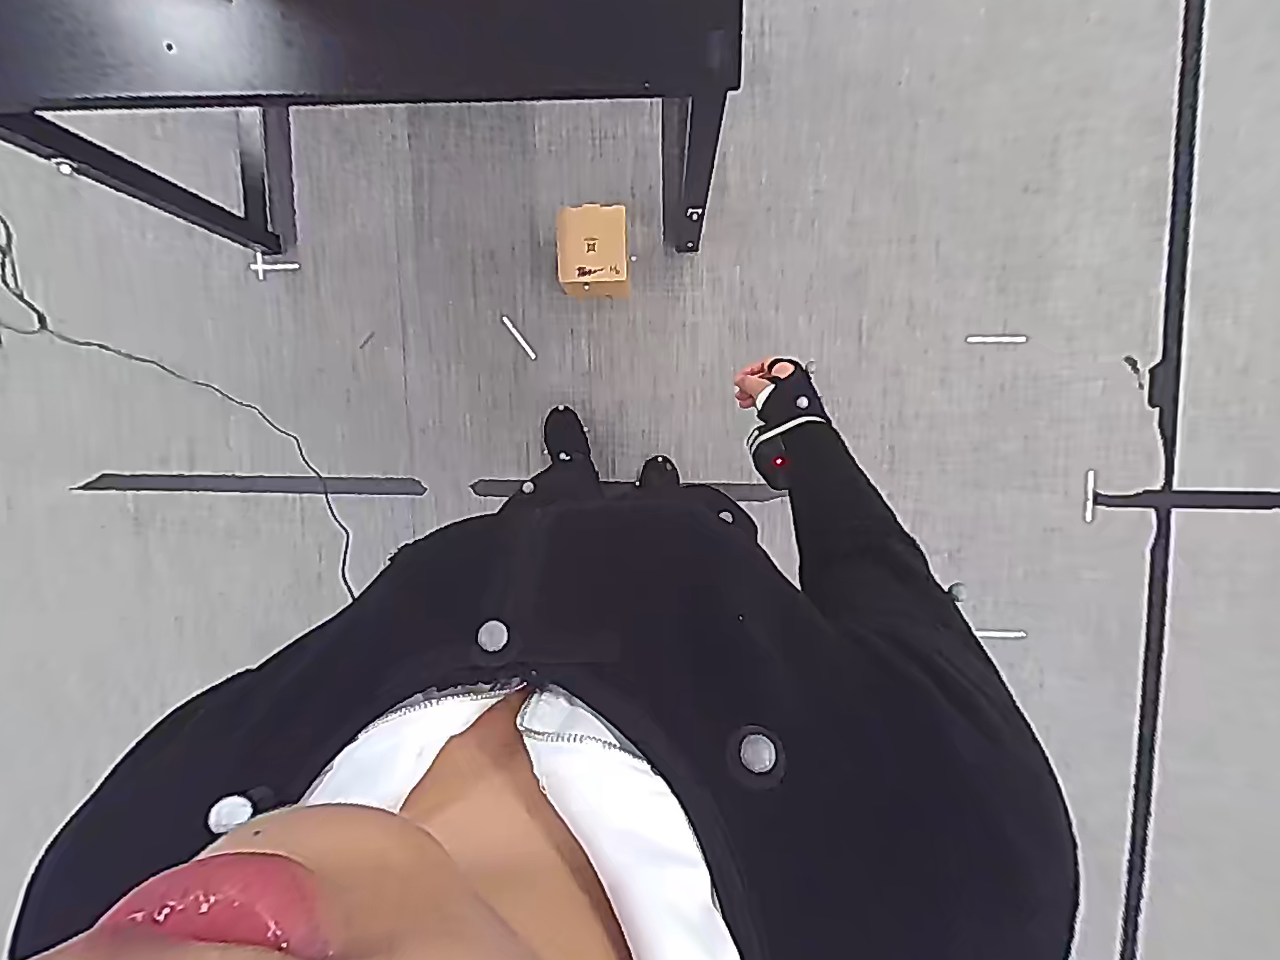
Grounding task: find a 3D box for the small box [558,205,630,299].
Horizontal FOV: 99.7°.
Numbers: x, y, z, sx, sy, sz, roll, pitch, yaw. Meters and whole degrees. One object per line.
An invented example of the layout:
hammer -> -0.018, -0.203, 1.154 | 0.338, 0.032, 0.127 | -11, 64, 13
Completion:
small box -> -0.113, -0.569, 1.365 | 0.168, 0.176, 0.179 | 0, 95, 3
